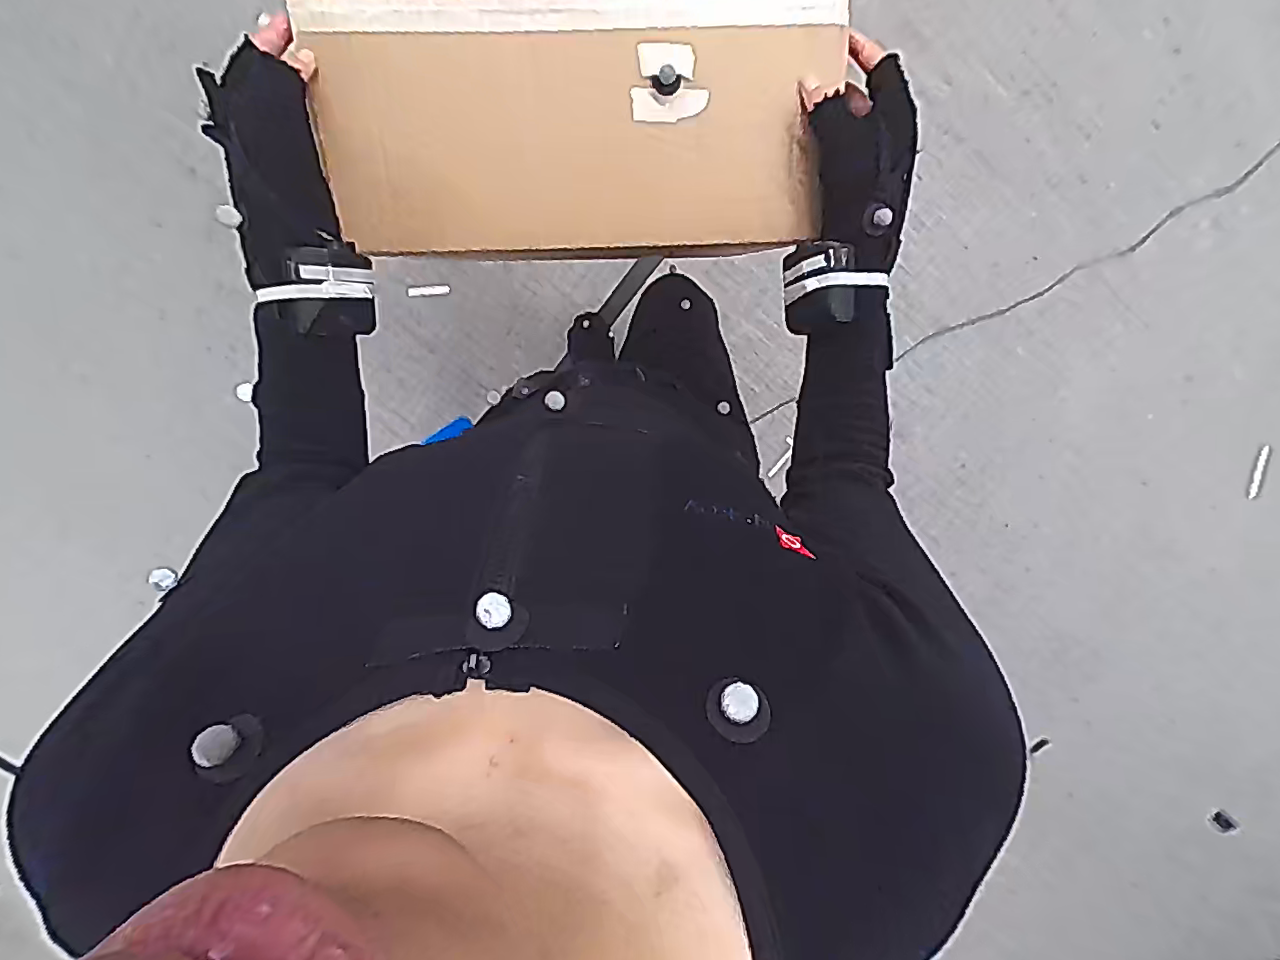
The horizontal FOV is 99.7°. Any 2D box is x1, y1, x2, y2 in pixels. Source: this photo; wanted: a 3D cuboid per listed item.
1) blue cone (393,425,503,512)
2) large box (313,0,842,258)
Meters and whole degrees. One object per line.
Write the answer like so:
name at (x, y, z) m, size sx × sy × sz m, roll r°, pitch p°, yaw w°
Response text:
blue cone at (-0.502, 0.001, 1.346) m, size 0.192 × 0.380 × 0.193 m, roll -29°, pitch 102°, yaw 10°
large box at (-0.053, -0.403, 0.545) m, size 0.408 × 0.320 × 0.320 m, roll -2°, pitch 111°, yaw -3°
